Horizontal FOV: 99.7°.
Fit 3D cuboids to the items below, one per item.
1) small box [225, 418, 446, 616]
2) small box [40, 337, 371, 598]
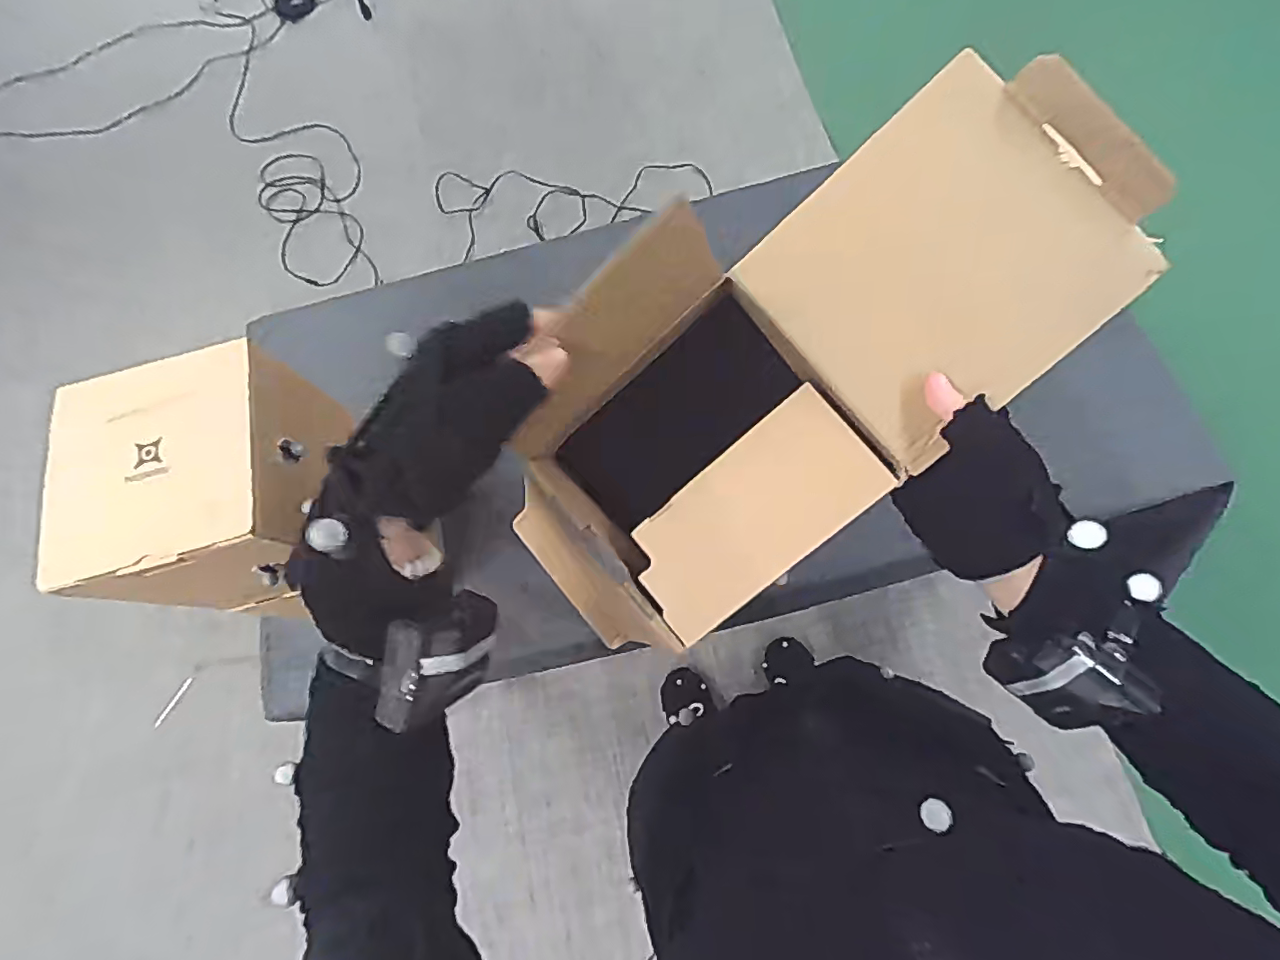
[{"bbox_3d":[-0.353,0.054,0.648,0.168,0.176,0.179,-16,72,0],"label":"small box"},{"bbox_3d":[-0.370,0.005,0.494,0.168,0.176,0.179,-14,72,0],"label":"small box"}]
